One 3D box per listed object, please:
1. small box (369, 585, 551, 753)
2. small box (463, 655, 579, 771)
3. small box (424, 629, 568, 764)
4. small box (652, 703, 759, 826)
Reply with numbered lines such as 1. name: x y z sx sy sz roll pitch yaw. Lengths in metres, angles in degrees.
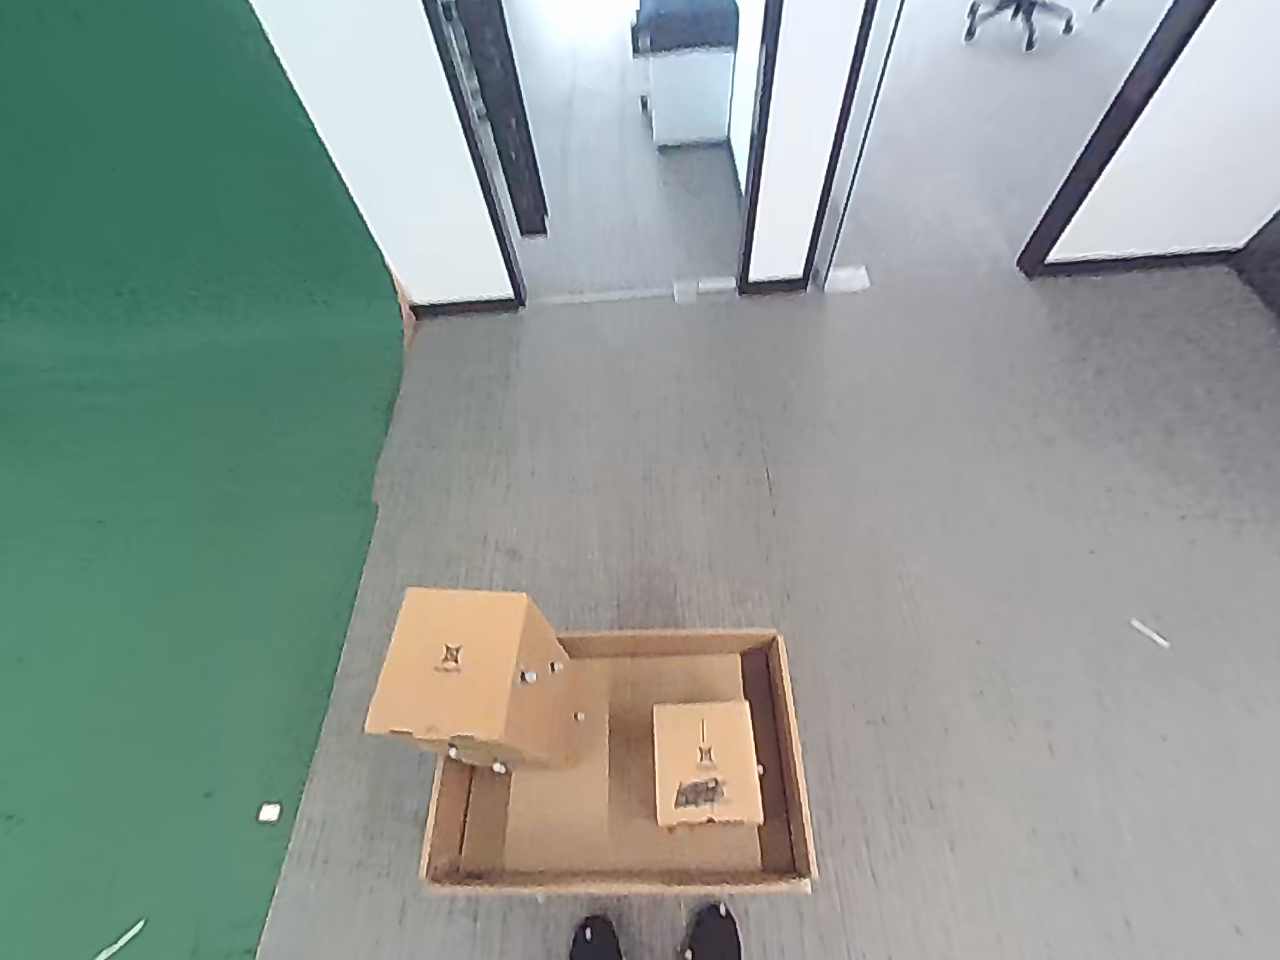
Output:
1. small box: -0.223 0.258 0.730 0.168 0.176 0.179 2 59 5
2. small box: -0.209 0.433 1.005 0.168 0.176 0.179 0 58 3
3. small box: -0.217 0.345 0.866 0.168 0.176 0.179 1 58 5
4. small box: 0.108 0.497 0.940 0.168 0.176 0.179 -2 56 2
